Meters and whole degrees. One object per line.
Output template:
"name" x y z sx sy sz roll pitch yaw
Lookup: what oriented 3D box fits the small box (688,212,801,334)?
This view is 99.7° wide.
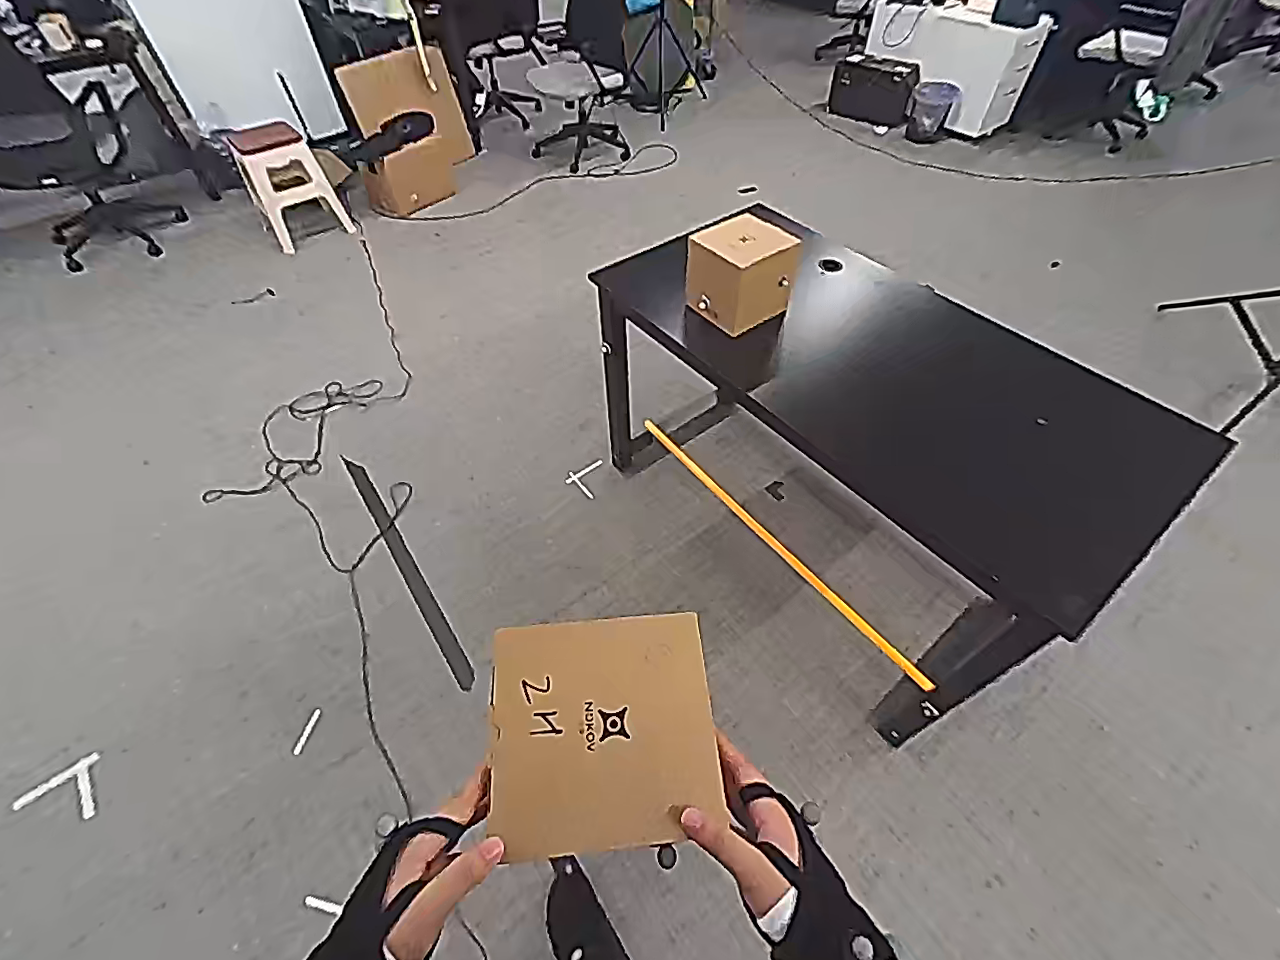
"small box" 0.220 -0.454 1.189 0.179 0.176 0.168 -32 57 -21

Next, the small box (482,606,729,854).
"small box" -0.033 0.221 0.484 0.179 0.176 0.168 -3 59 -5
